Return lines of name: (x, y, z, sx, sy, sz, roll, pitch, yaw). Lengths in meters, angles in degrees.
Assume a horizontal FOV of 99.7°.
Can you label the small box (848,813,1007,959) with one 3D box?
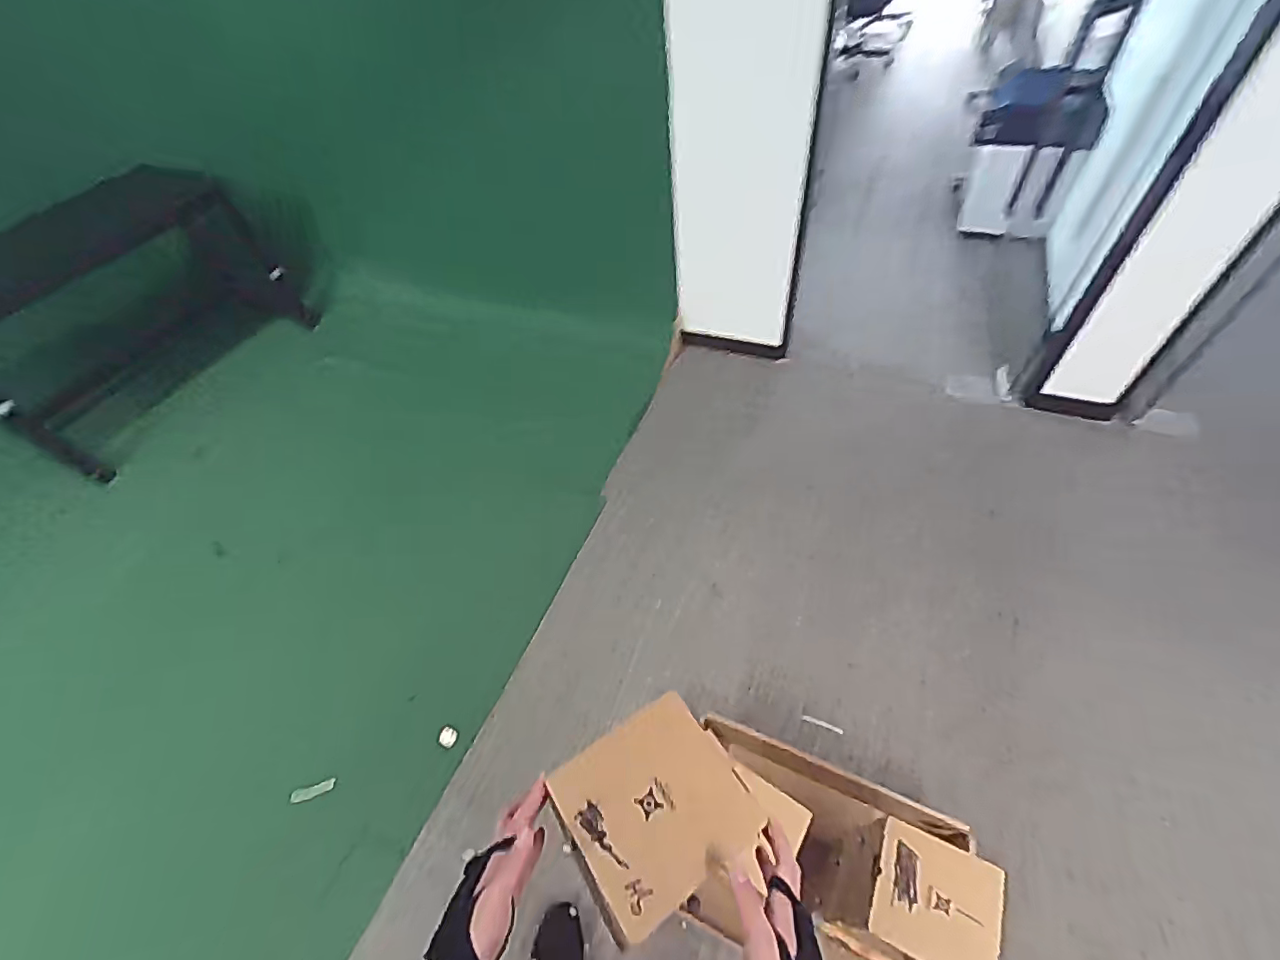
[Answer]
small box: (0.452, 0.675, 0.871, 0.179, 0.176, 0.168, 19, 57, 20)
